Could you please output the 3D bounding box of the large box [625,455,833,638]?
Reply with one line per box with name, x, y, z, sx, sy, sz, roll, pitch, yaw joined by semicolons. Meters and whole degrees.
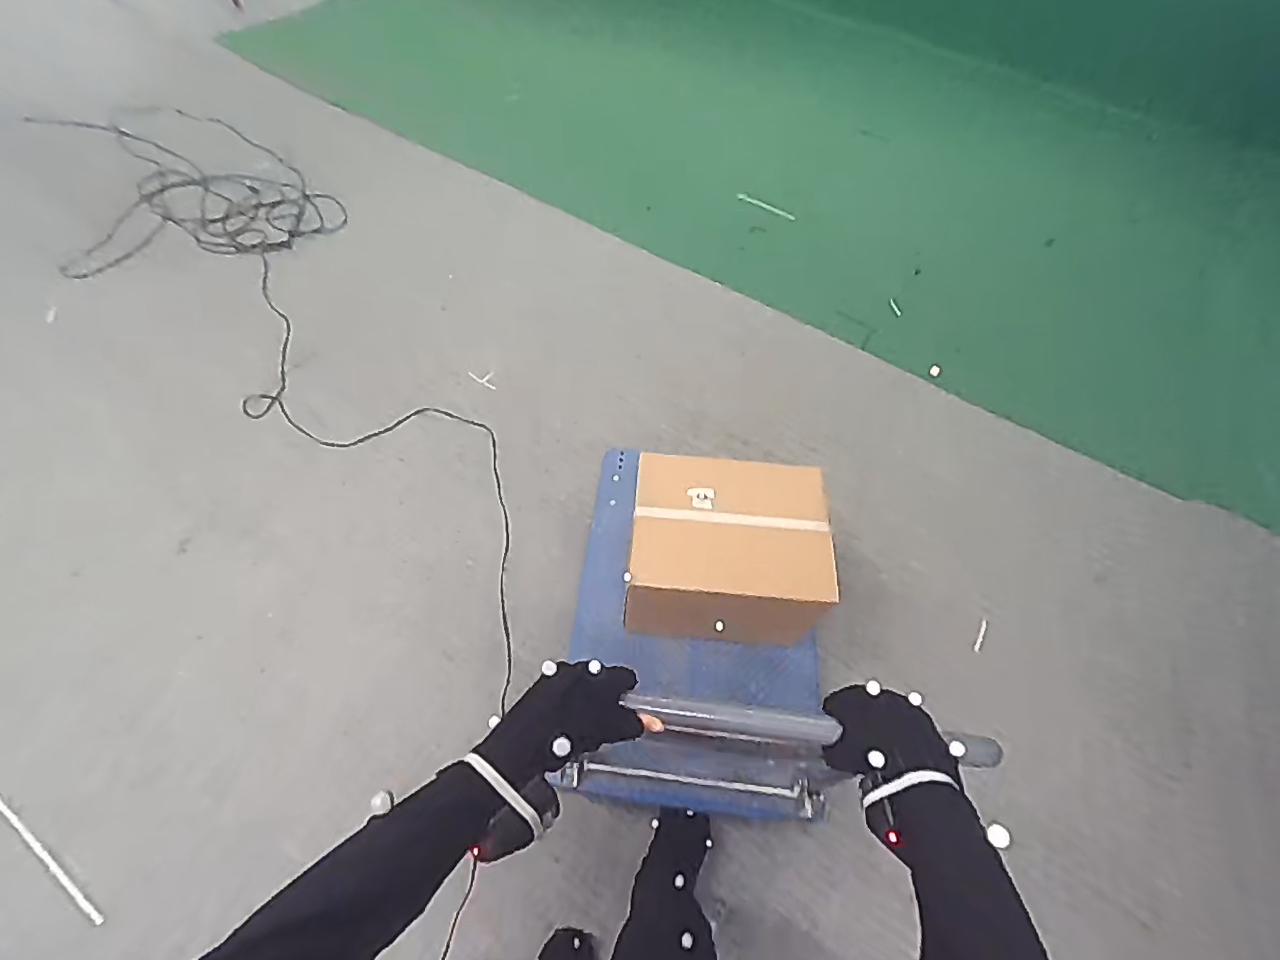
large box;0.177;0.164;1.242;0.408;0.320;0.320;4;57;-1
